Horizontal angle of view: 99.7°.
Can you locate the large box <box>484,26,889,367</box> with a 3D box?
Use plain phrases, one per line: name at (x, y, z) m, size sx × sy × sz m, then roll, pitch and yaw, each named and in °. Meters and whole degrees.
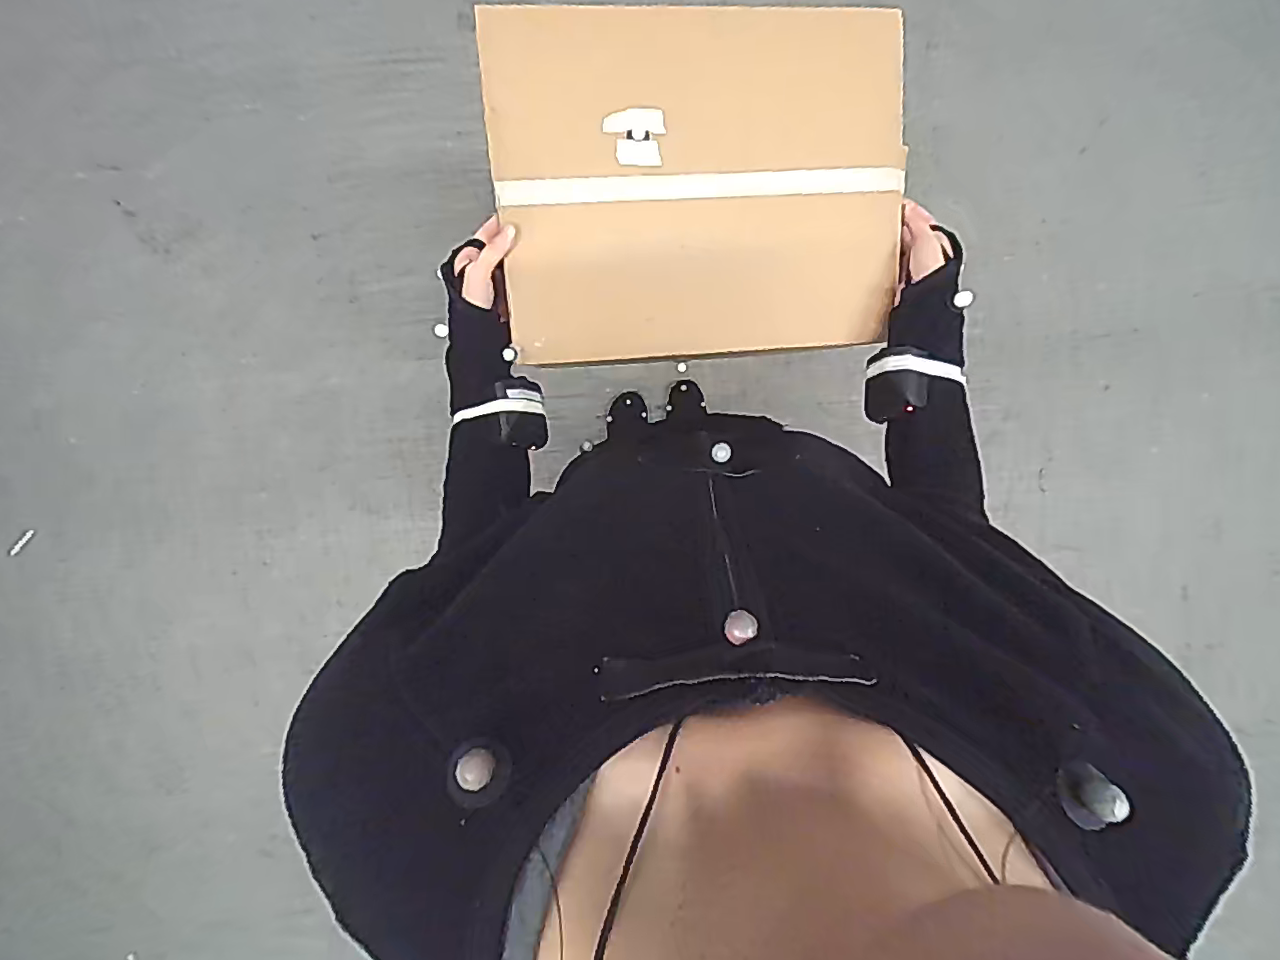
large box at (0.044, -0.313, 0.692) m, size 0.408 × 0.320 × 0.320 m, roll -4°, pitch 101°, yaw -6°
